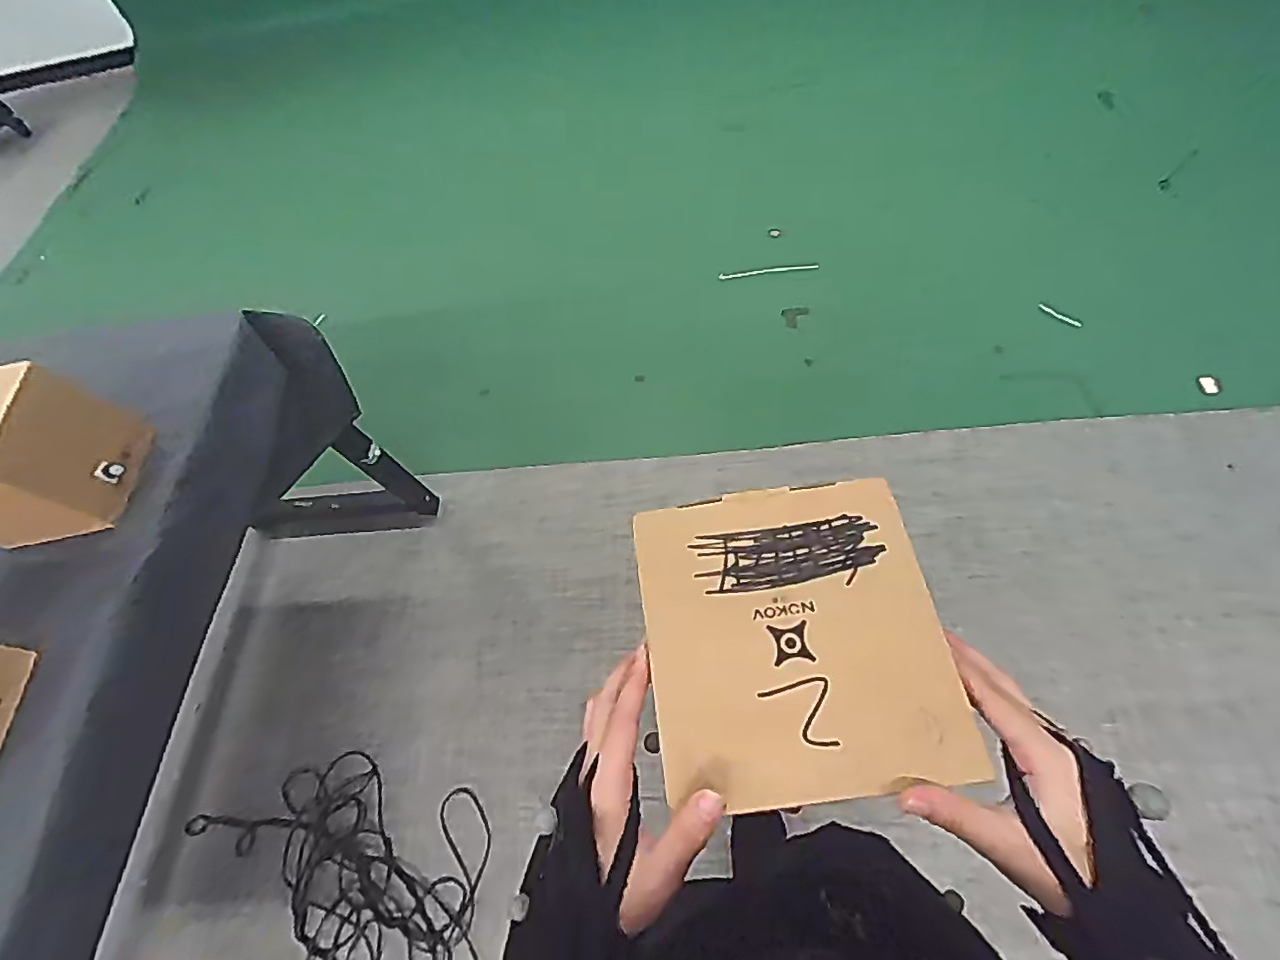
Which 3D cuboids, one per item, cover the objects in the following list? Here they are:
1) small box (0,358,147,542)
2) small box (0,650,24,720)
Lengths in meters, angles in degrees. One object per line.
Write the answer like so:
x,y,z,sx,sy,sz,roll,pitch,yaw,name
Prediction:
-0.822,-0.030,0.710,0.179,0.176,0.168,-11,63,3,small box
-0.832,0.261,0.563,0.179,0.176,0.168,-10,62,5,small box
